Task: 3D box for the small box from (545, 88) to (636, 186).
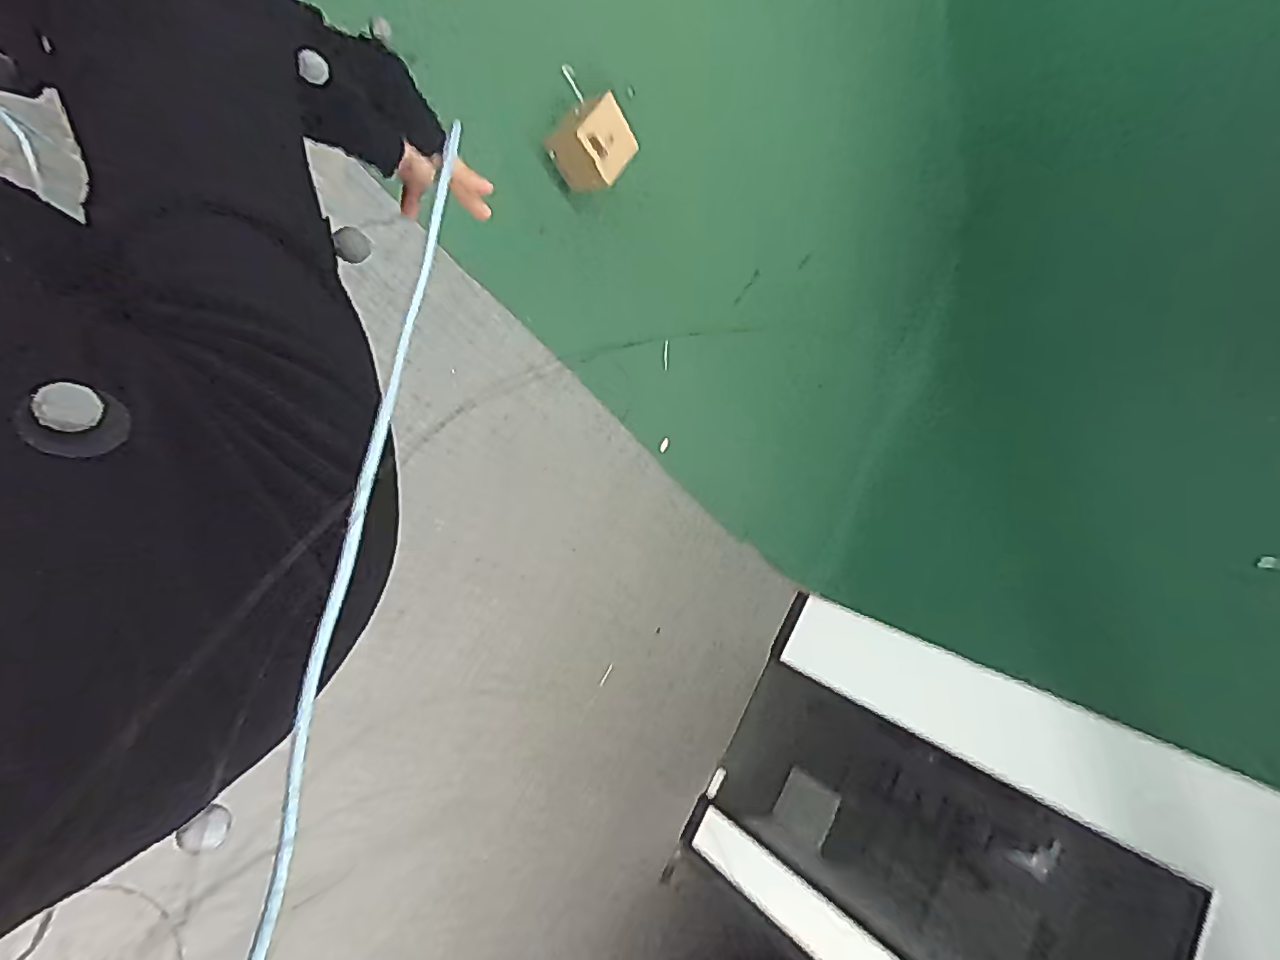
[{"bbox_3d":[-0.152,-0.994,1.584,0.179,0.176,0.168,-58,137,-14],"label":"small box"}]
